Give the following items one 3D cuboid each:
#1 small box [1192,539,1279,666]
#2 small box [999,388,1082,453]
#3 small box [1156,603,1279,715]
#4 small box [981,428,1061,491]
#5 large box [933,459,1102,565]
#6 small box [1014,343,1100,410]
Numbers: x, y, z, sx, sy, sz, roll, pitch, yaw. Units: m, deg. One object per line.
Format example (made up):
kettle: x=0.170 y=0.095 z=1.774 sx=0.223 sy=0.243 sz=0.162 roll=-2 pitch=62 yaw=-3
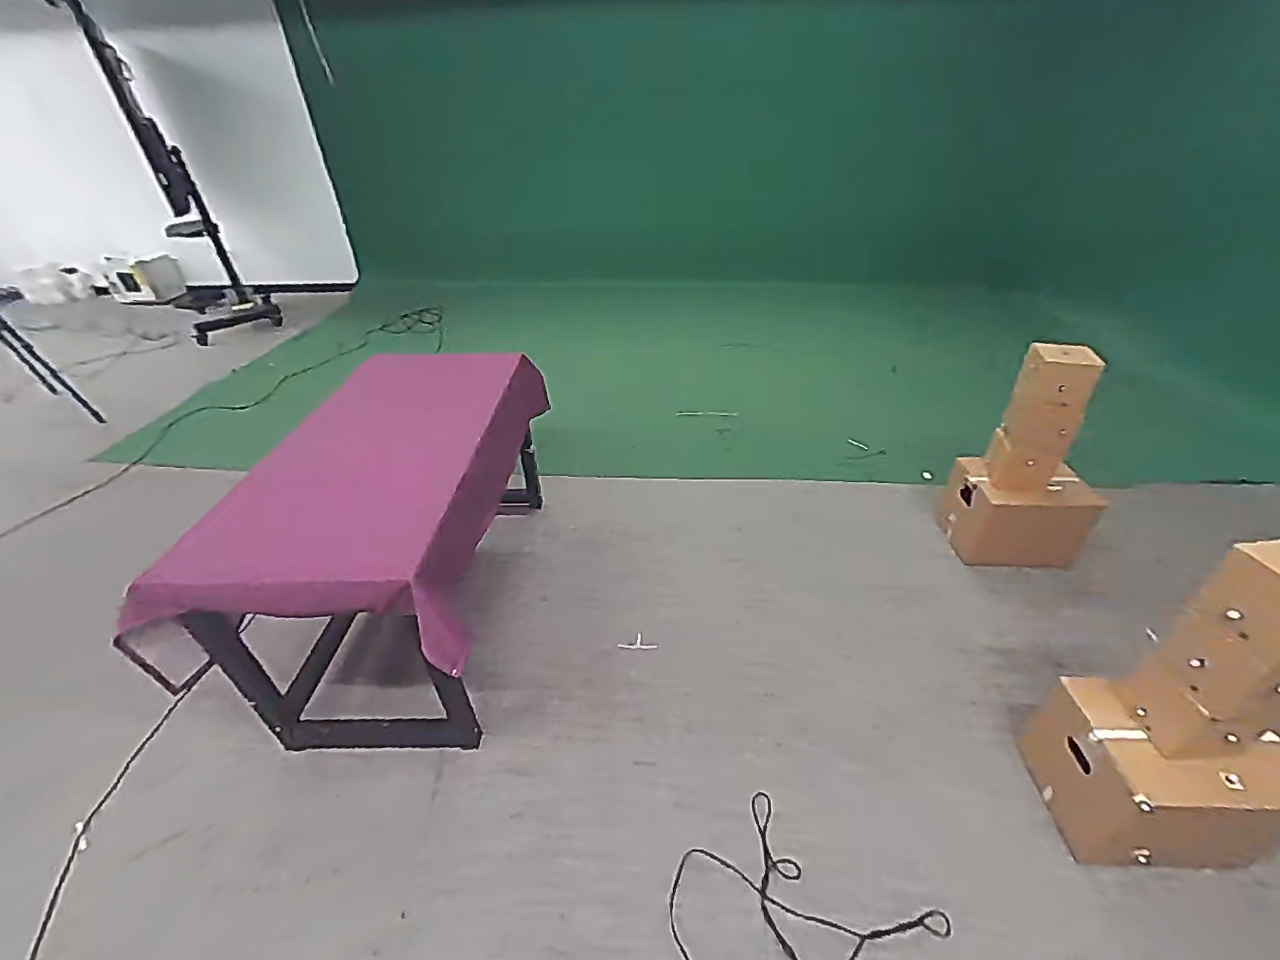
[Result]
small box: x=1.238 y=0.231 z=1.031 sx=0.179 sy=0.176 sz=0.168 roll=-5 pitch=34 yaw=-4
small box: x=1.418 y=-0.212 z=1.926 sx=0.179 sy=0.176 sz=0.168 roll=8 pitch=35 yaw=15
small box: x=1.241 y=0.367 z=1.124 sx=0.179 sy=0.176 sz=0.168 roll=-5 pitch=35 yaw=-3
small box: x=1.412 y=-0.076 z=2.016 sx=0.179 sy=0.176 sz=0.168 roll=7 pitch=36 yaw=12
large box: x=1.469 y=0.126 z=2.149 sx=0.408 sy=0.320 sz=0.320 roll=1 pitch=36 yaw=2
small box: x=1.410 y=-0.352 z=1.840 sx=0.168 sy=0.176 sz=0.179 roll=9 pitch=36 yaw=15
